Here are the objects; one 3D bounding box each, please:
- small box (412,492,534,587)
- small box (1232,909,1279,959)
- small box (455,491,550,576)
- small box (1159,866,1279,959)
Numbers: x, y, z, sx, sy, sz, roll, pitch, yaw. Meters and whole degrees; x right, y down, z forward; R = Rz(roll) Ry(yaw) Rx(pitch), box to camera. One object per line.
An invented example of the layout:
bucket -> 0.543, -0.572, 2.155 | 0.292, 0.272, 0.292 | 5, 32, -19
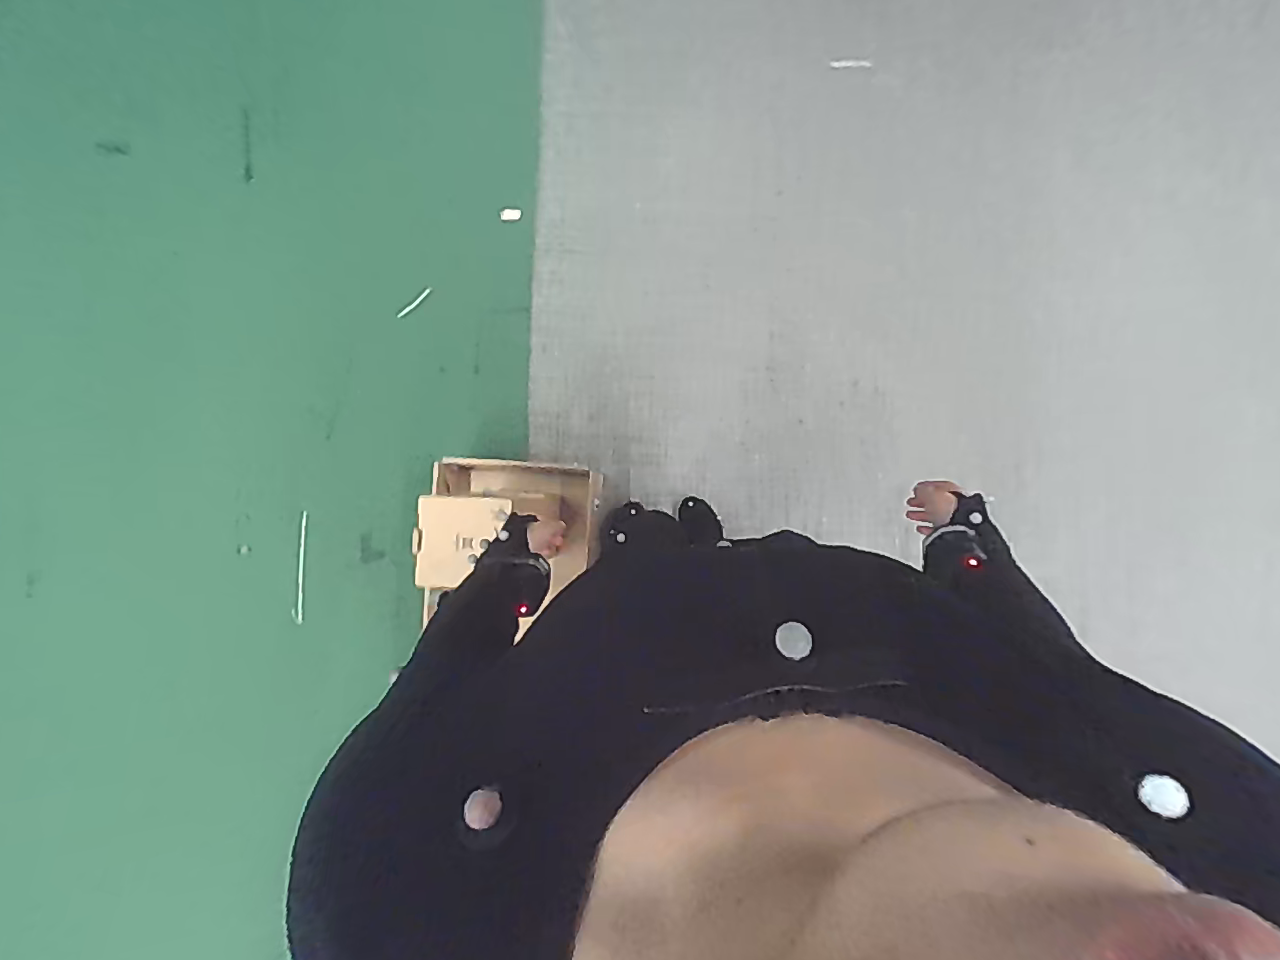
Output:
small box -> -0.314, 0.109, 1.042 | 0.179, 0.176, 0.168 | 1, 89, 3
small box -> 1.412, 1.049, 1.130 | 0.168, 0.176, 0.179 | -3, 87, 3
small box -> -0.308, 0.114, 1.206 | 0.179, 0.176, 0.168 | 5, 89, 1
small box -> 1.403, 1.059, 1.294 | 0.168, 0.176, 0.179 | -7, 88, 4
